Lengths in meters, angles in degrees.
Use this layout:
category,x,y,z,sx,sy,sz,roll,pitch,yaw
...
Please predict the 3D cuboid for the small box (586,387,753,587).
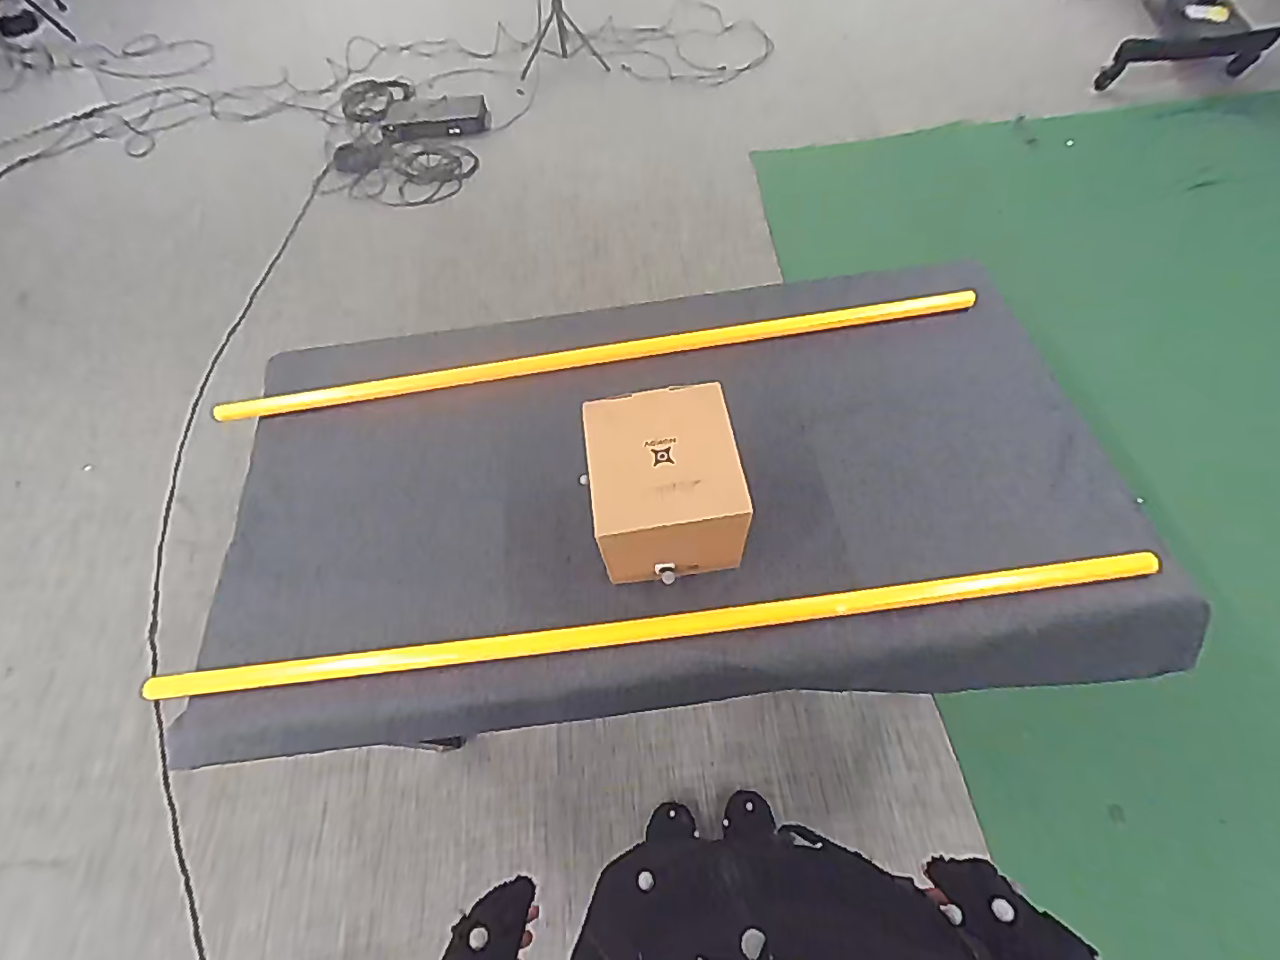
category,x,y,z,sx,sy,sz,roll,pitch,yaw
small box,0.032,0.014,0.668,0.168,0.176,0.179,-10,61,0
